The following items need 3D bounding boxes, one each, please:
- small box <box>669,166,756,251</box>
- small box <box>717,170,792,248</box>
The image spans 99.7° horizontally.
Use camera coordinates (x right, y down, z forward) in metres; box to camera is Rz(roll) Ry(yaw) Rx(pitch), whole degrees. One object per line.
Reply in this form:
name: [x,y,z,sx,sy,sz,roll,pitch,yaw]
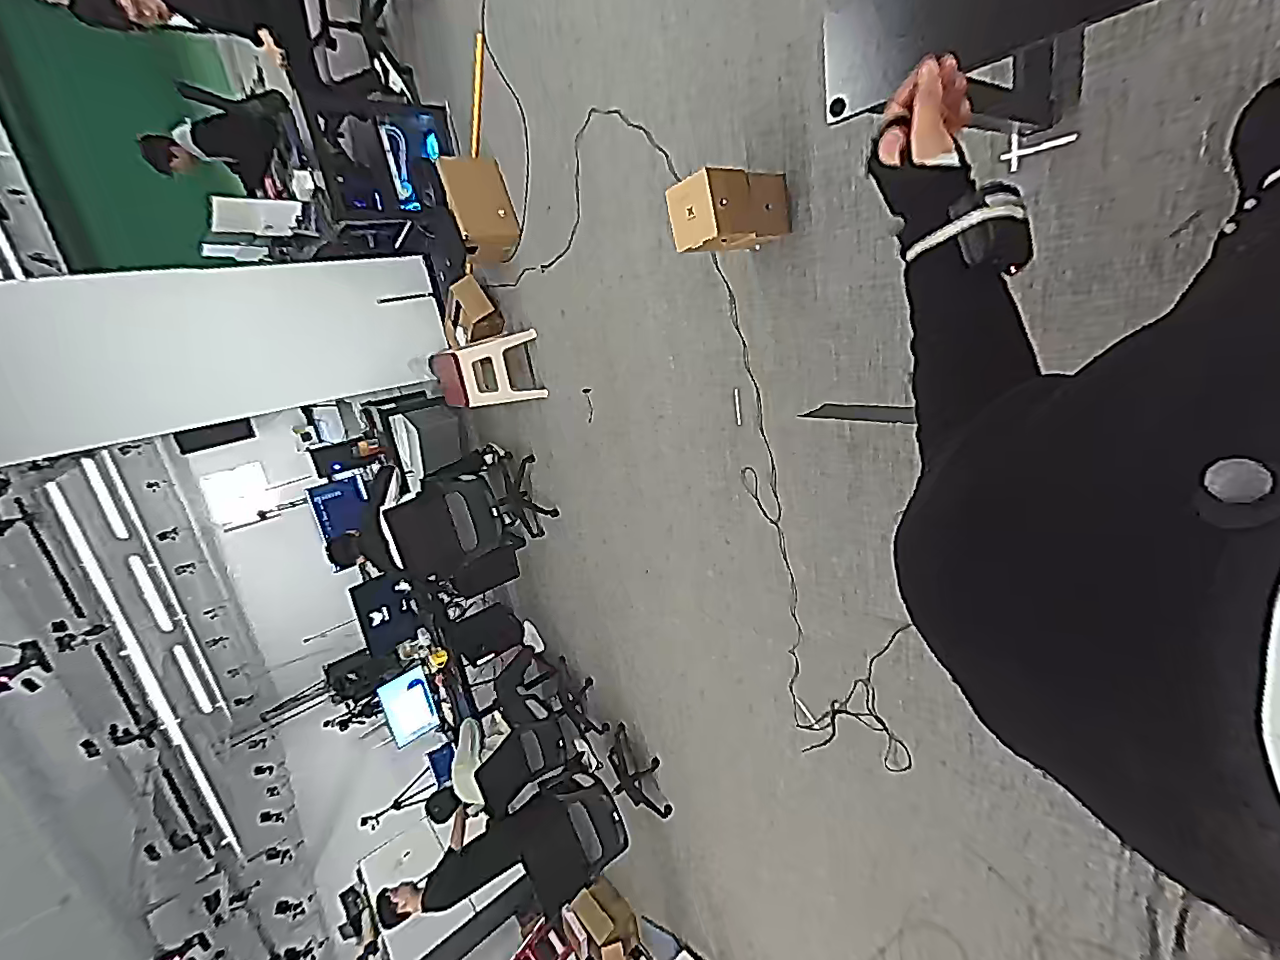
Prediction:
small box: [0.211,-0.769,1.538,0.168,0.176,0.179,2,108,52]
small box: [0.337,-0.813,1.631,0.168,0.176,0.179,8,114,52]
